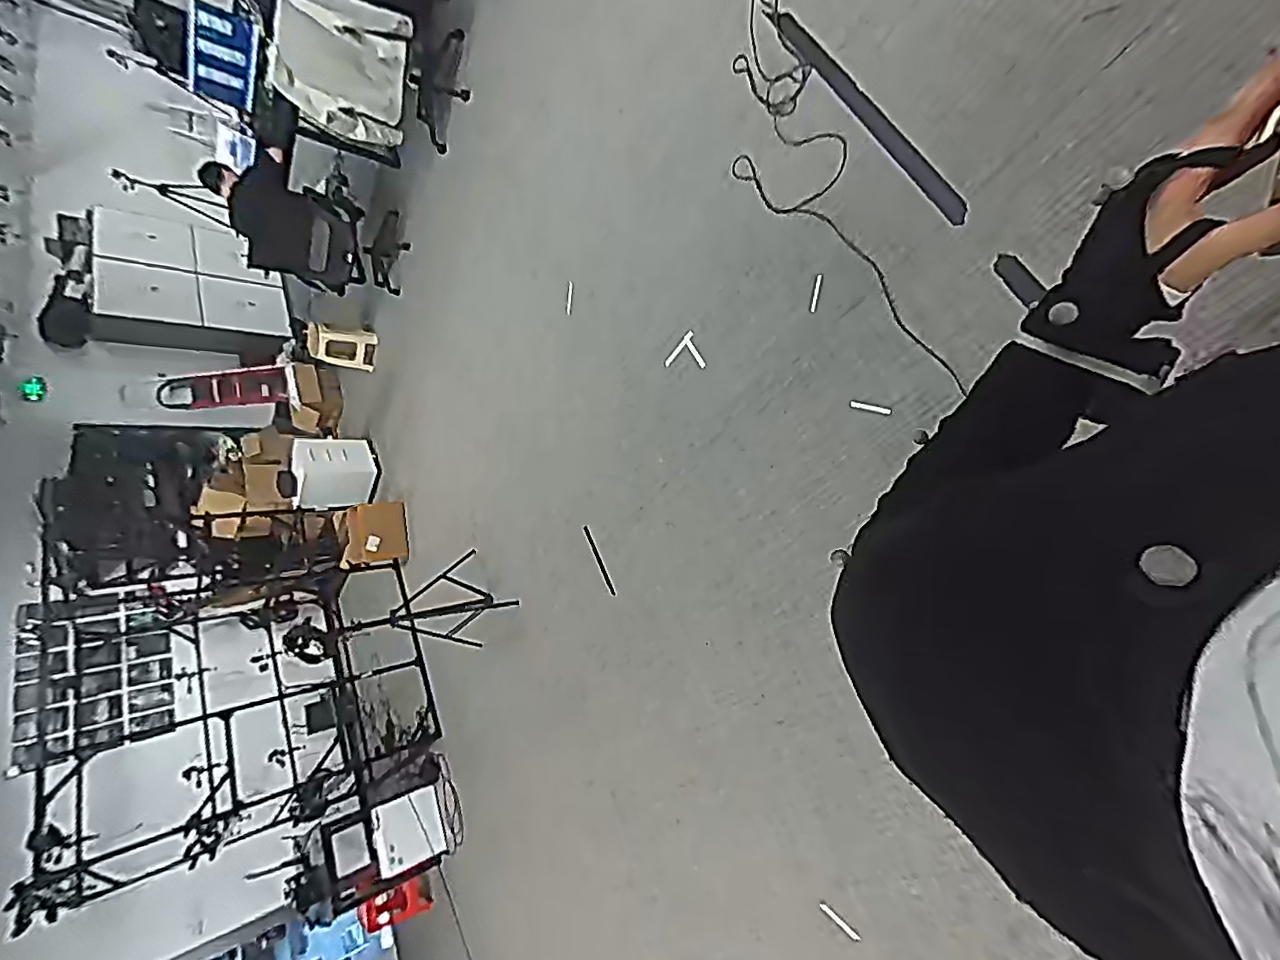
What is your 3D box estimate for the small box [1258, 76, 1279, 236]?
[{"bbox_3d":[0.442,-0.231,0.258,0.179,0.176,0.168,11,102,45],"label":"small box"}]
